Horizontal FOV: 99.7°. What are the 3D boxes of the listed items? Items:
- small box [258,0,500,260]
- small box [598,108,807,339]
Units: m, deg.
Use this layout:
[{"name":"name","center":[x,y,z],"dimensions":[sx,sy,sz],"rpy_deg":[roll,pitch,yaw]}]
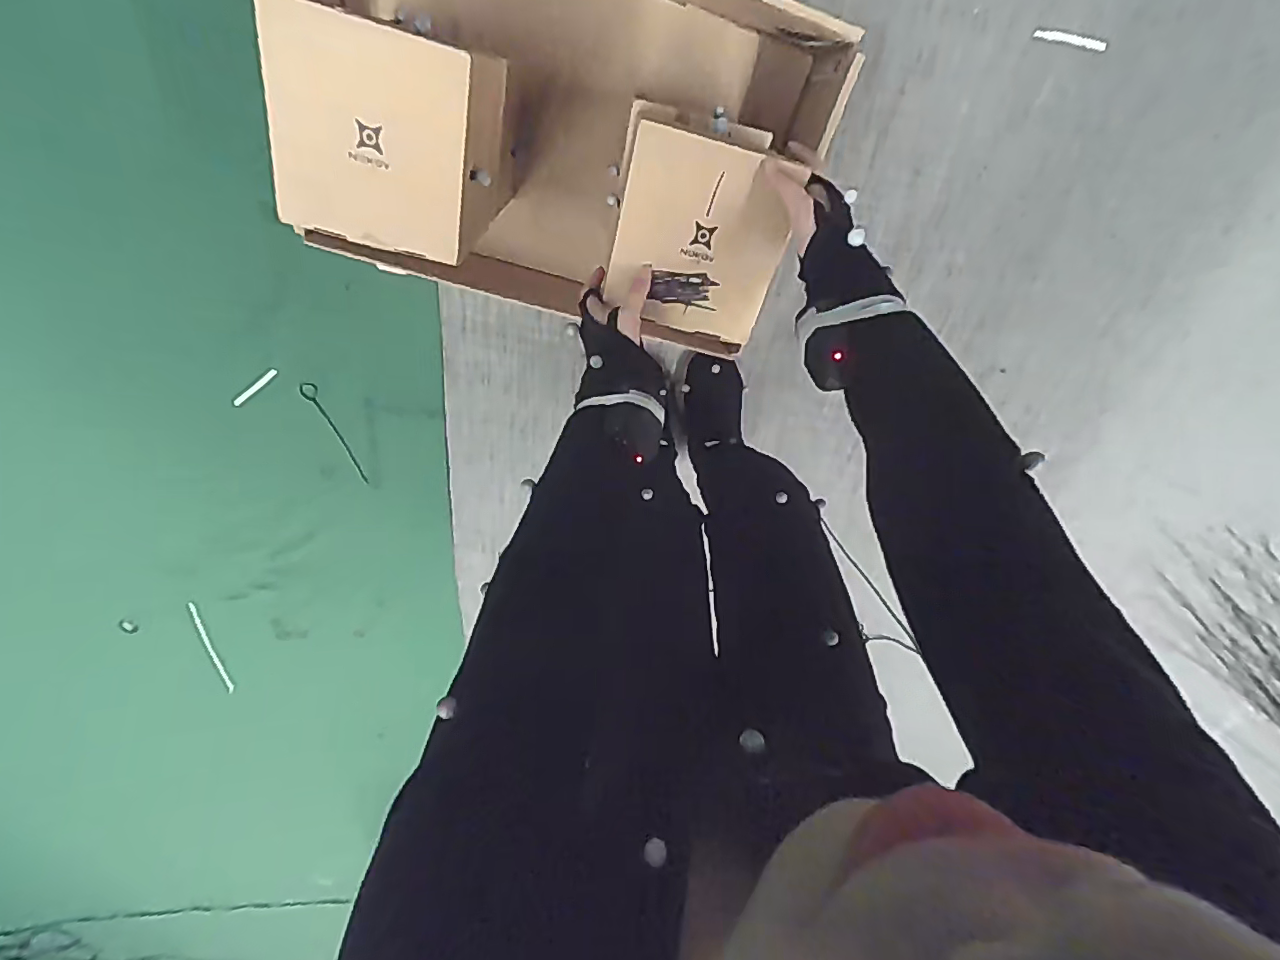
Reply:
[{"name":"small box","center":[-0.241,-0.349,0.536],"dimensions":[0.168,0.176,0.179],"rpy_deg":[11,126,-12]},{"name":"small box","center":[0.054,-0.284,0.595],"dimensions":[0.168,0.176,0.179],"rpy_deg":[11,125,-10]}]
